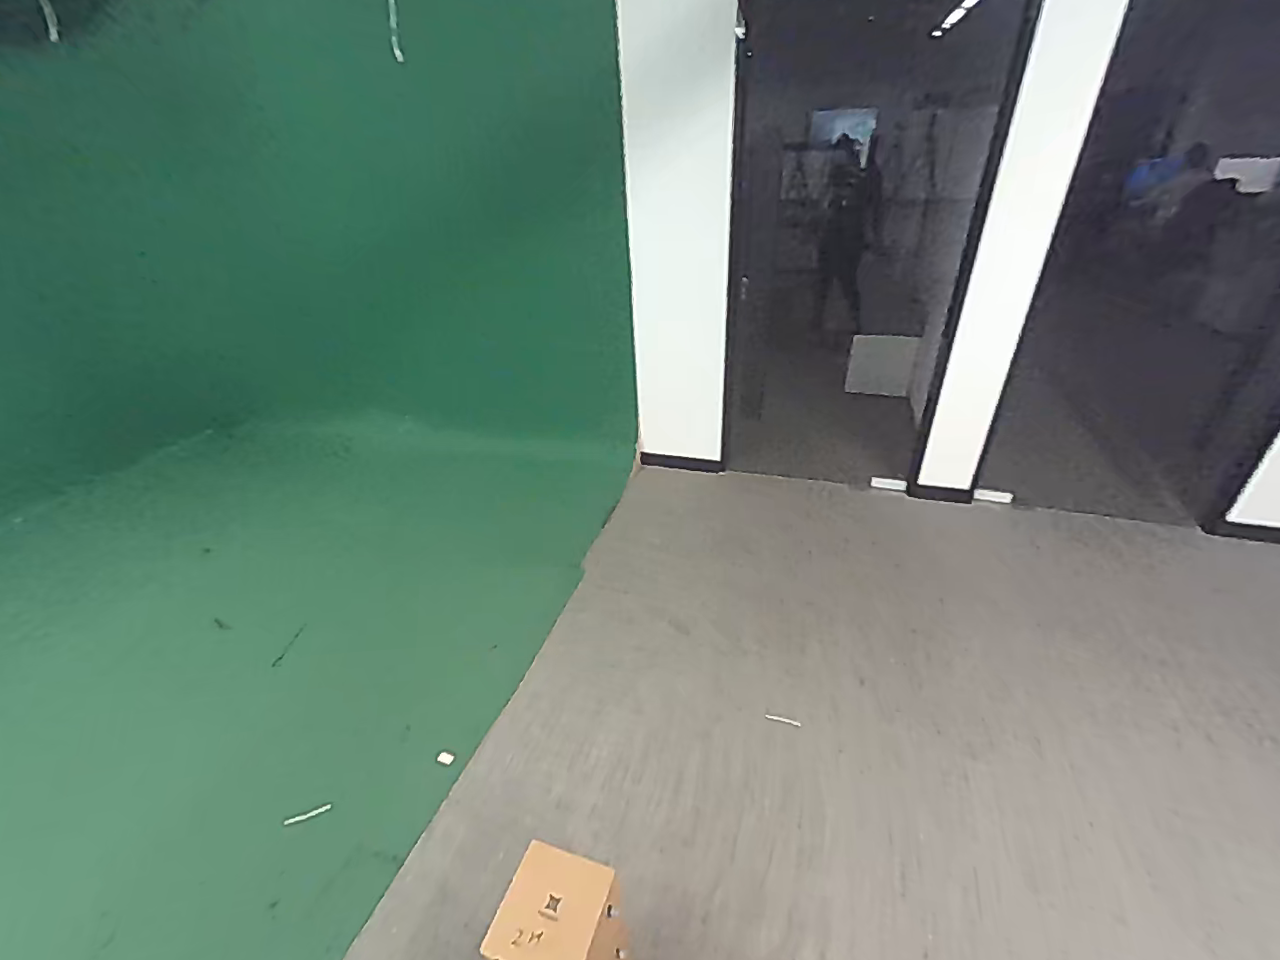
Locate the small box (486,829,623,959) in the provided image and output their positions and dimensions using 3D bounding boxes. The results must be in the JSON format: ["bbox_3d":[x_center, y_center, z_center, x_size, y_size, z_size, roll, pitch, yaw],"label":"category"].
[{"bbox_3d":[-0.135,0.757,0.931,0.168,0.176,0.179,7,34,19],"label":"small box"}]
